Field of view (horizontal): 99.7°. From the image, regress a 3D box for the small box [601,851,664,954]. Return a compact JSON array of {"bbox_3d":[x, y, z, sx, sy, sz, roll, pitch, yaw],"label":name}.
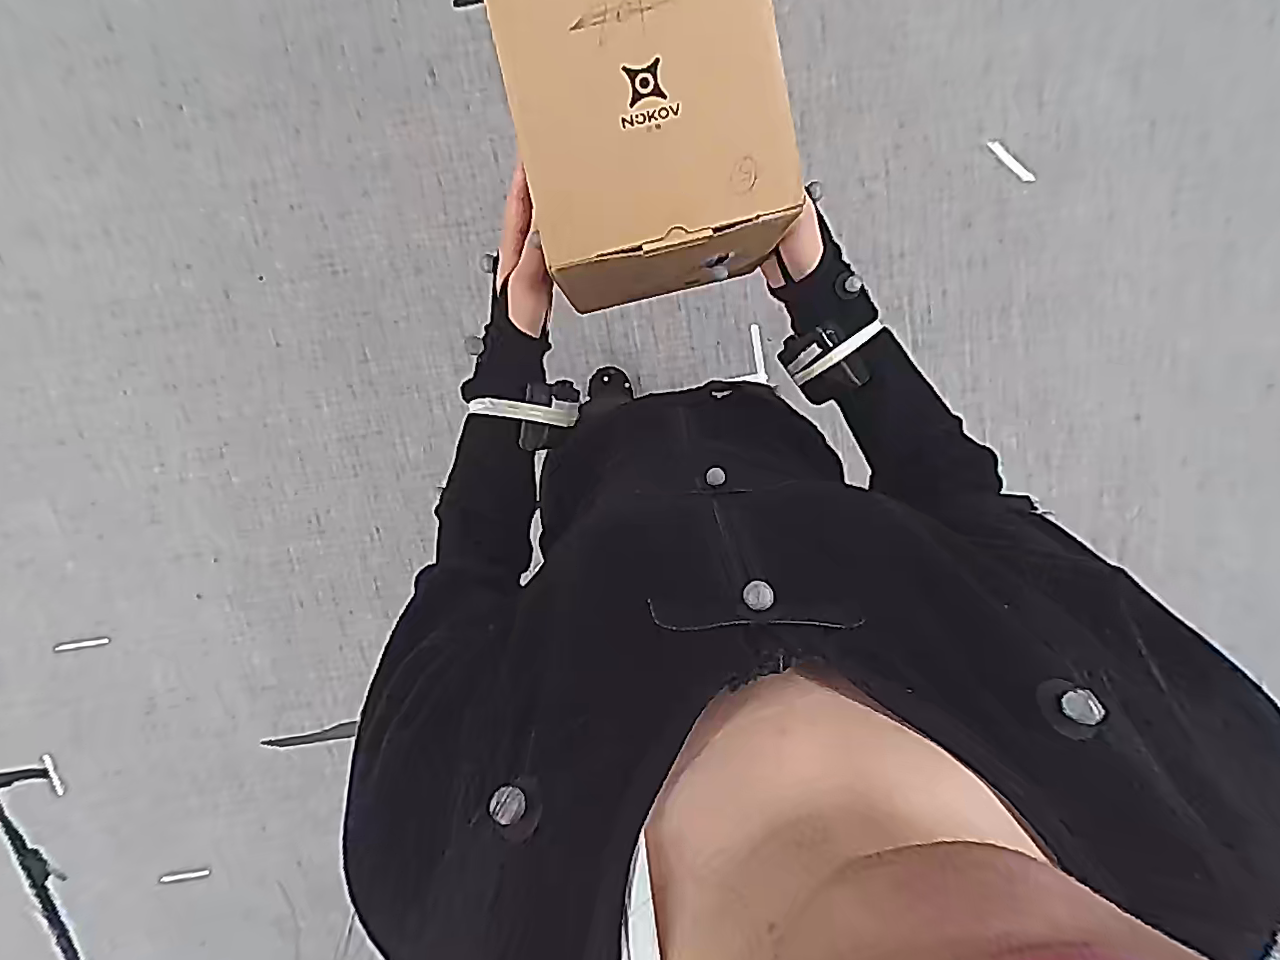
[{"bbox_3d":[-0.023,1.287,1.654,0.168,0.176,0.179,-10,100,0],"label":"small box"}]
